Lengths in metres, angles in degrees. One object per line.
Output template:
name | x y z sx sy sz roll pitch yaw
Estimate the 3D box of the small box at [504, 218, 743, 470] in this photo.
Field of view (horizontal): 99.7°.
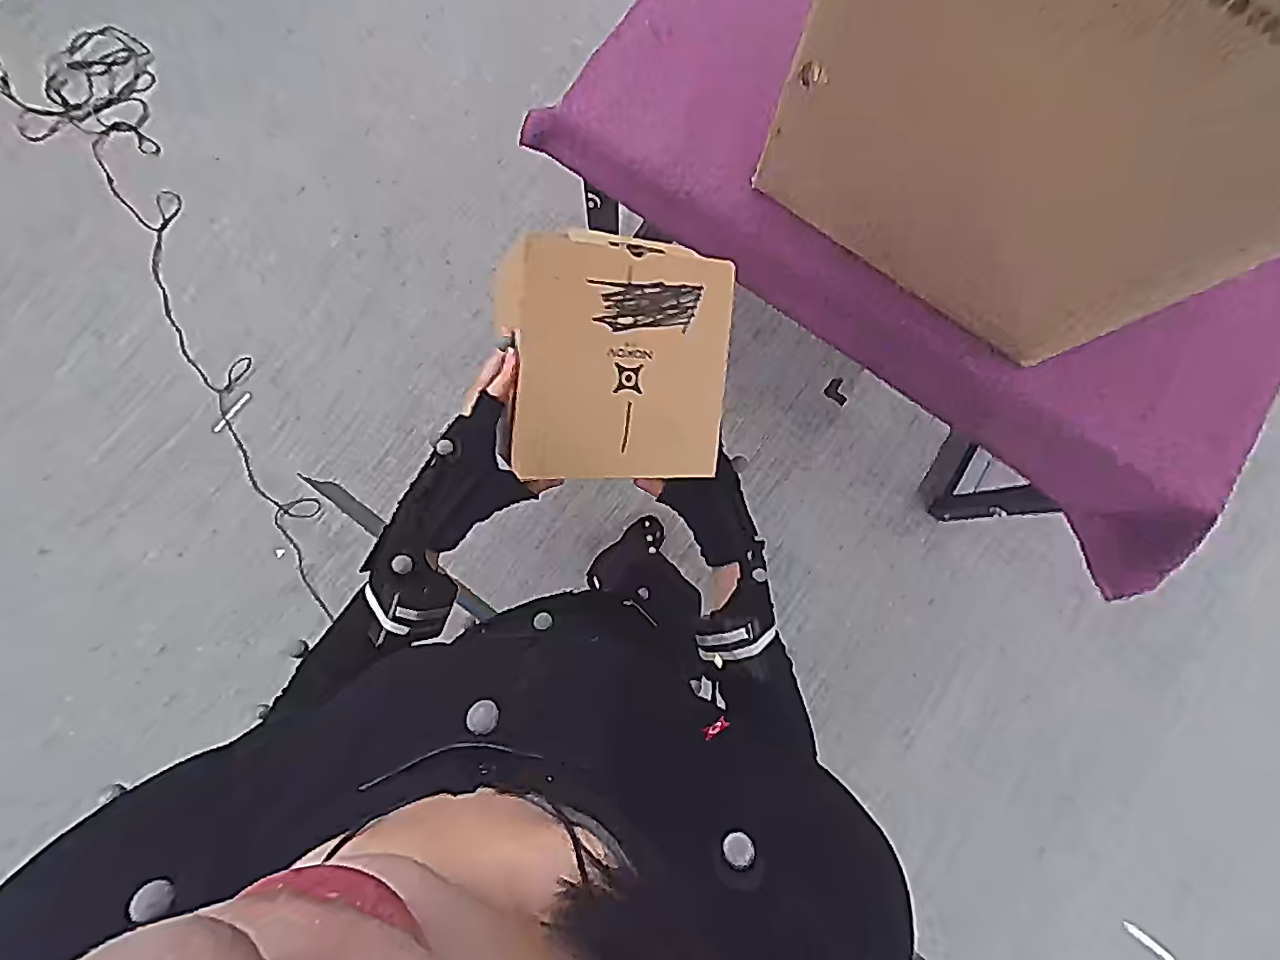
small box | -0.027 -0.105 0.480 0.168 0.176 0.179 -1 100 -21
